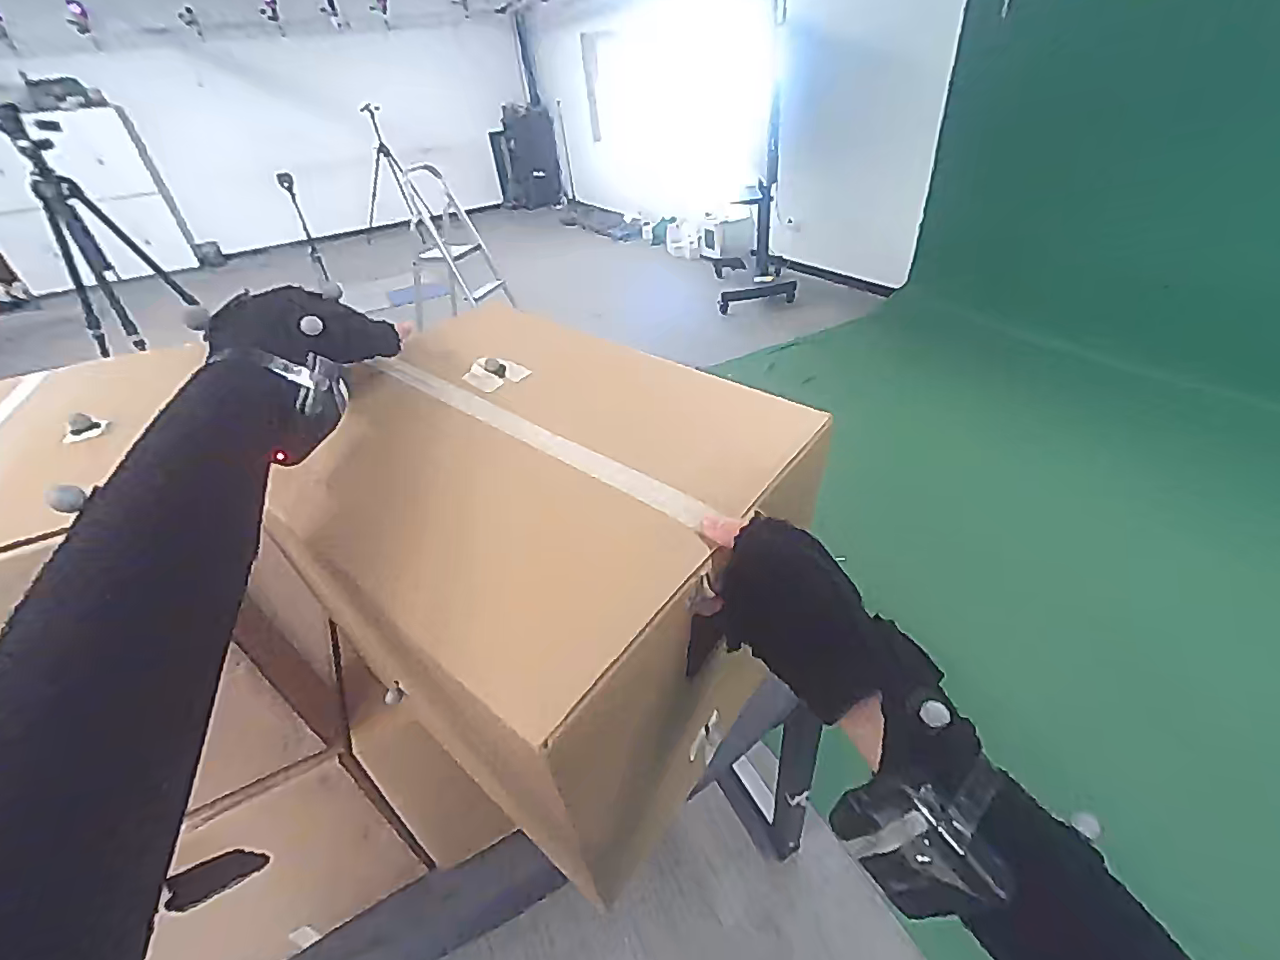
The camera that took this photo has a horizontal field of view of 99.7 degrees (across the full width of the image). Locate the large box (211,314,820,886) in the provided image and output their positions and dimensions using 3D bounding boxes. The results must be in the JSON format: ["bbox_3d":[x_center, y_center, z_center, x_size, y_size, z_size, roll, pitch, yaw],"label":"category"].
[{"bbox_3d":[-0.093,0.077,0.528,0.408,0.320,0.320,25,48,30],"label":"large box"}]
